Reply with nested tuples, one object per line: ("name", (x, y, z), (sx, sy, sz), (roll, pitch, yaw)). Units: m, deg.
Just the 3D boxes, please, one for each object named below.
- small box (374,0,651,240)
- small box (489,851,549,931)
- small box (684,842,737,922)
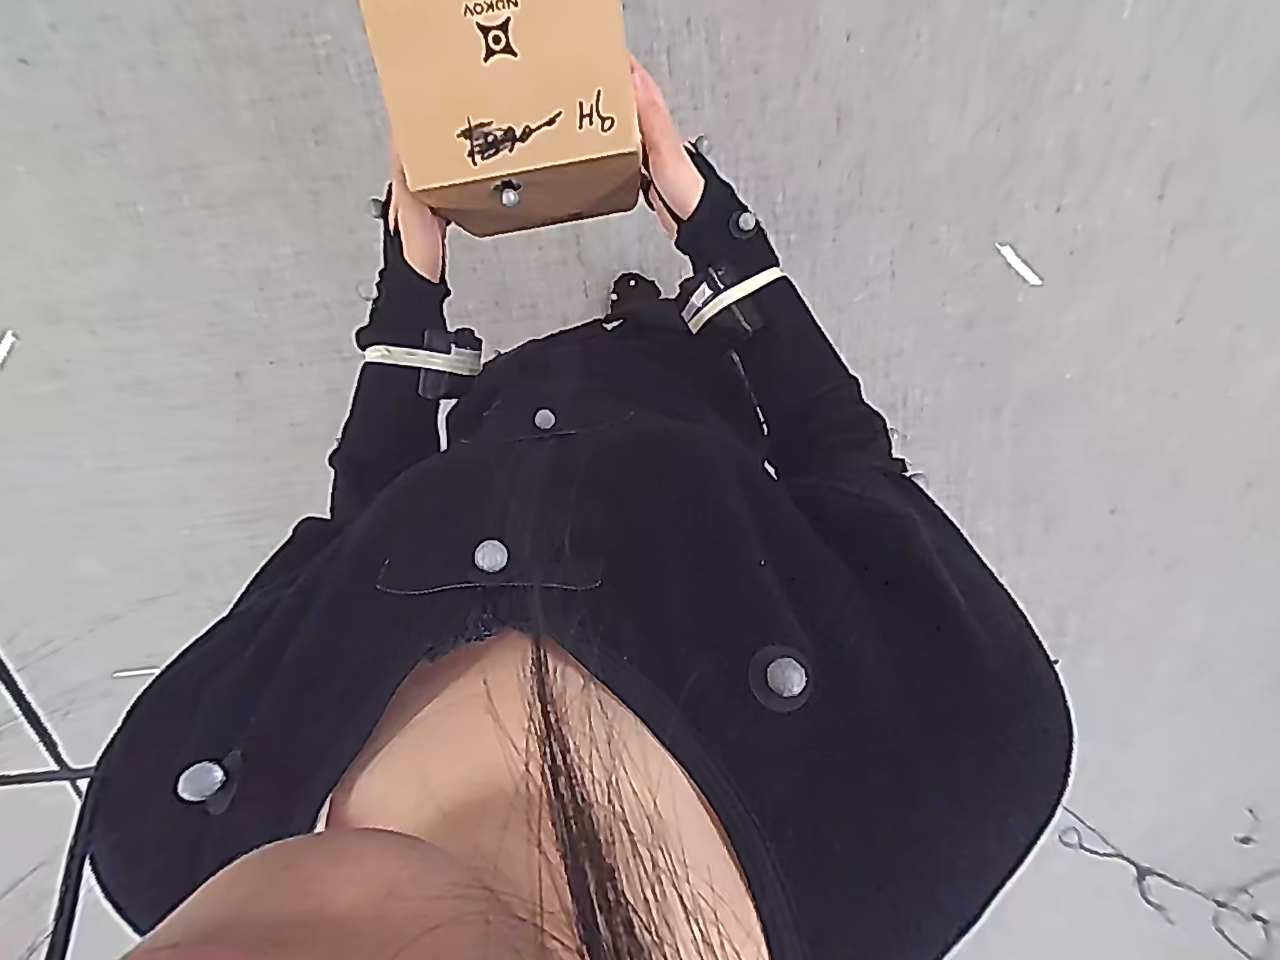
("small box", (-0.089, -0.311, 0.428), (0.168, 0.176, 0.179), (-10, 104, 1))
("small box", (-0.438, 1.489, 1.967), (0.179, 0.176, 0.168), (8, 109, -5))
("small box", (0.252, 1.447, 1.958), (0.168, 0.176, 0.179), (-6, 111, 1))
